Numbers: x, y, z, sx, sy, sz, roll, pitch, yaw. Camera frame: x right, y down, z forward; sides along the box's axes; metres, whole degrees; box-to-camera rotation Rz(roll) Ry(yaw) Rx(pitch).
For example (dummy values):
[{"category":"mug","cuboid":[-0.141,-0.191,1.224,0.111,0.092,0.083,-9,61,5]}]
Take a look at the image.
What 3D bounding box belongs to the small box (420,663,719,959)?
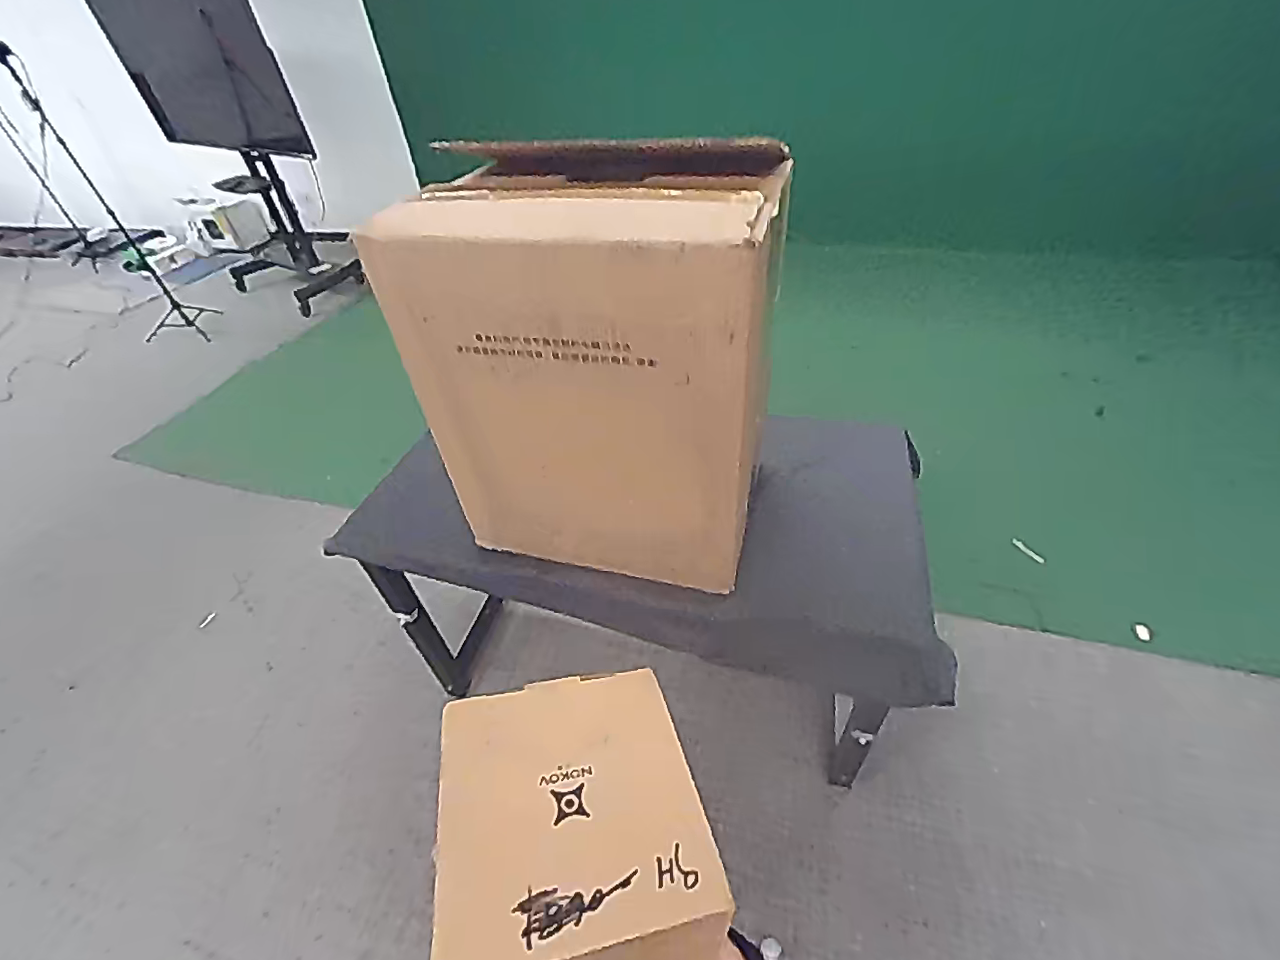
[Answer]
[{"category":"small box","cuboid":[-0.056,0.270,0.400,0.168,0.176,0.179,-6,32,-13]}]
